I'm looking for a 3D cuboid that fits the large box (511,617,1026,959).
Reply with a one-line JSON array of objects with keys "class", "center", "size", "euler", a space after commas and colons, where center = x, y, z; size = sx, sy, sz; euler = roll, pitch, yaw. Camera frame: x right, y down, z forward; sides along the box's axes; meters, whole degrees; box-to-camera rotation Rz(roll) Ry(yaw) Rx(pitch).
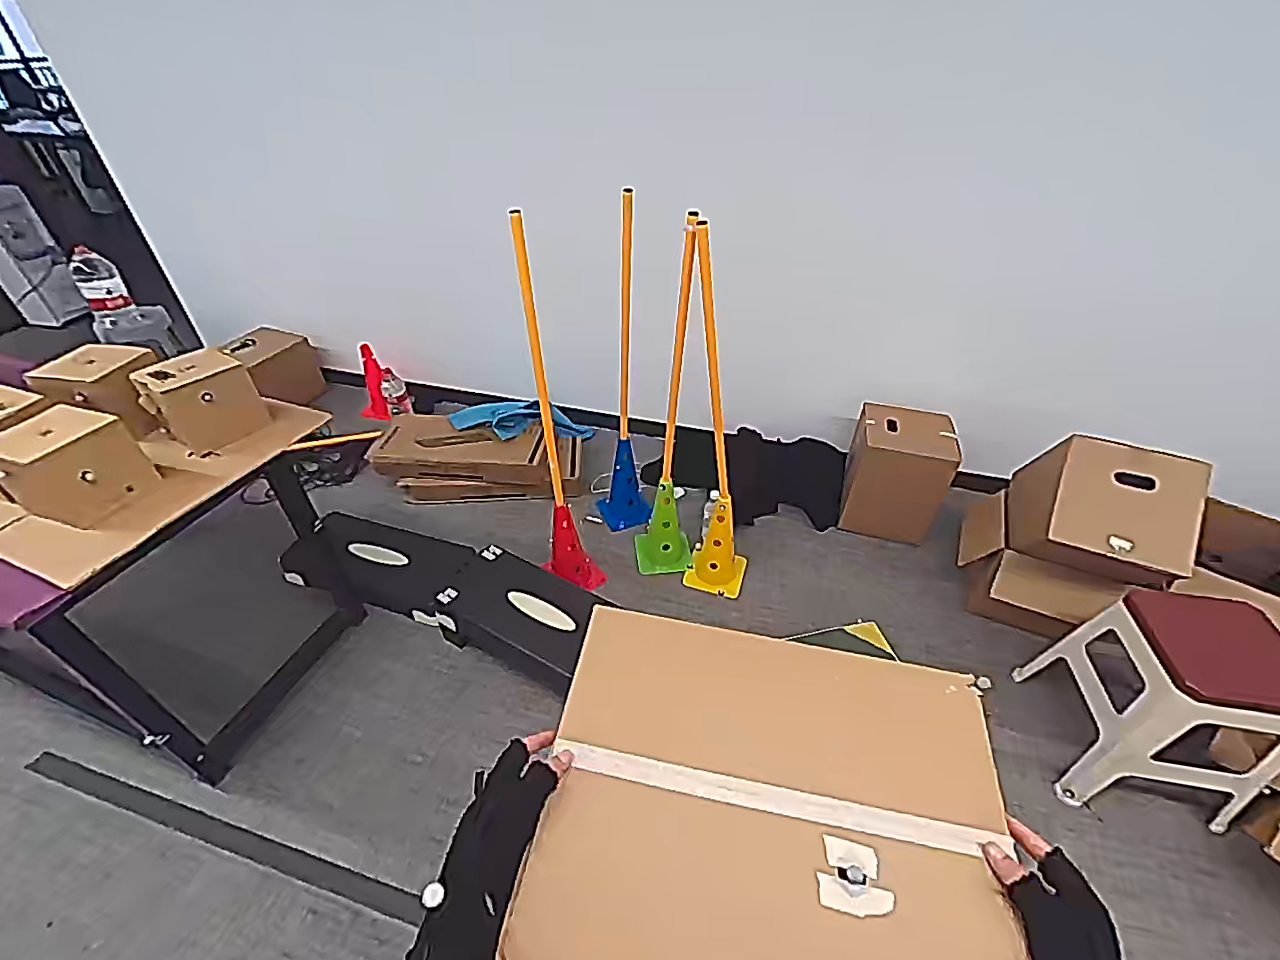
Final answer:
[{"class": "large box", "center": [0.115, 0.394, 0.600], "size": [0.408, 0.320, 0.320], "euler": [9, 48, 7]}]
